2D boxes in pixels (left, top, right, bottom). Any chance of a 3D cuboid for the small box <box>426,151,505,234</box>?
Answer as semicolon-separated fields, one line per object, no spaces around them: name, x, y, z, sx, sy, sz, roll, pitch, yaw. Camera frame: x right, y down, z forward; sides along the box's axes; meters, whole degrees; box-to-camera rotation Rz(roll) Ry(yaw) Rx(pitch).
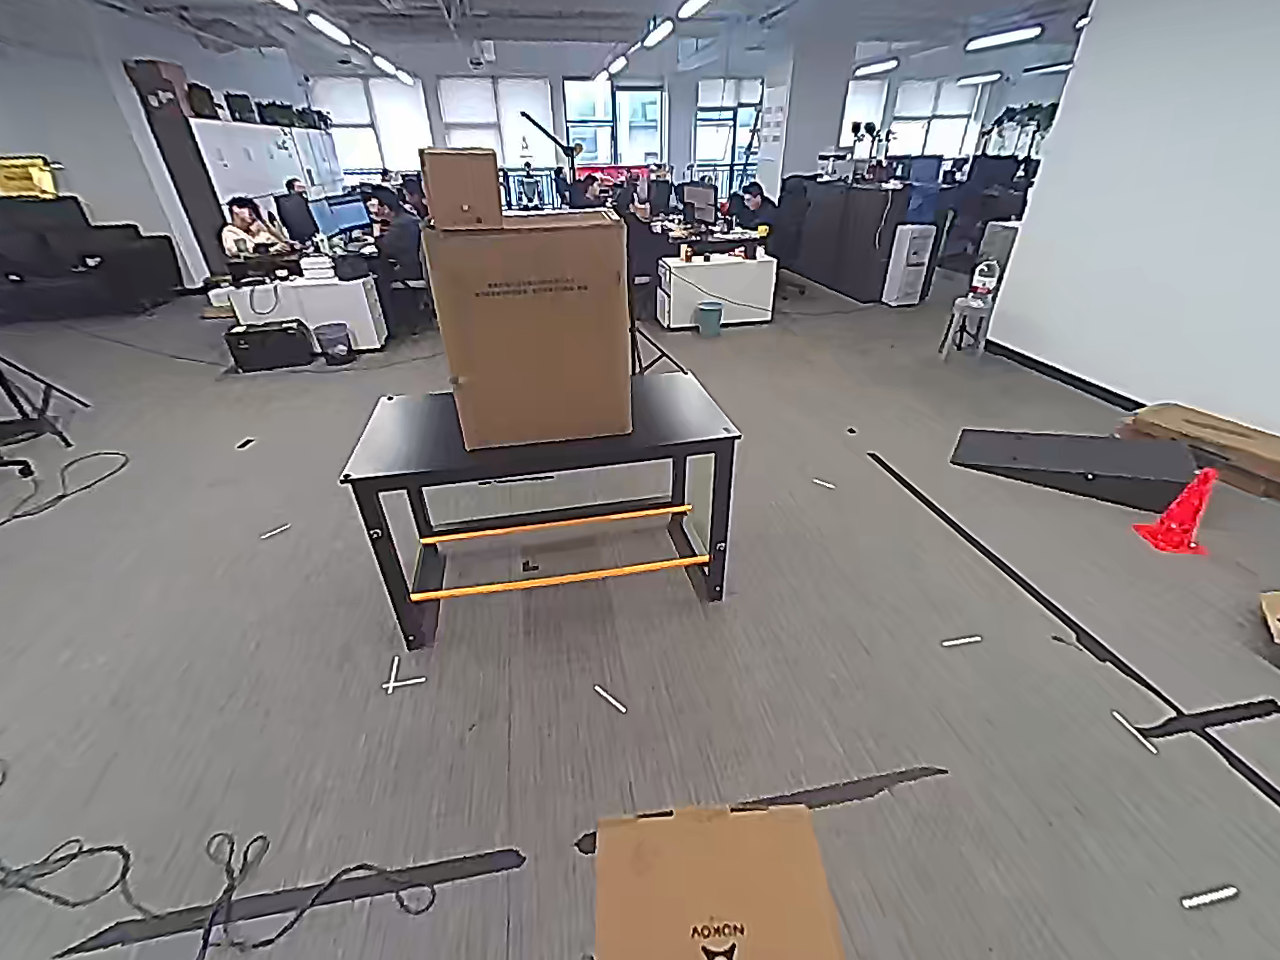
small box;-0.438;-0.732;1.374;0.168;0.176;0.179;-7;35;-13

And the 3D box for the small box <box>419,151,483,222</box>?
small box;-0.514;-0.825;1.523;0.168;0.176;0.179;-9;32;-14

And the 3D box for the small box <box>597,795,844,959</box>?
small box;0.053;0.368;0.414;0.168;0.176;0.179;-3;43;-1
